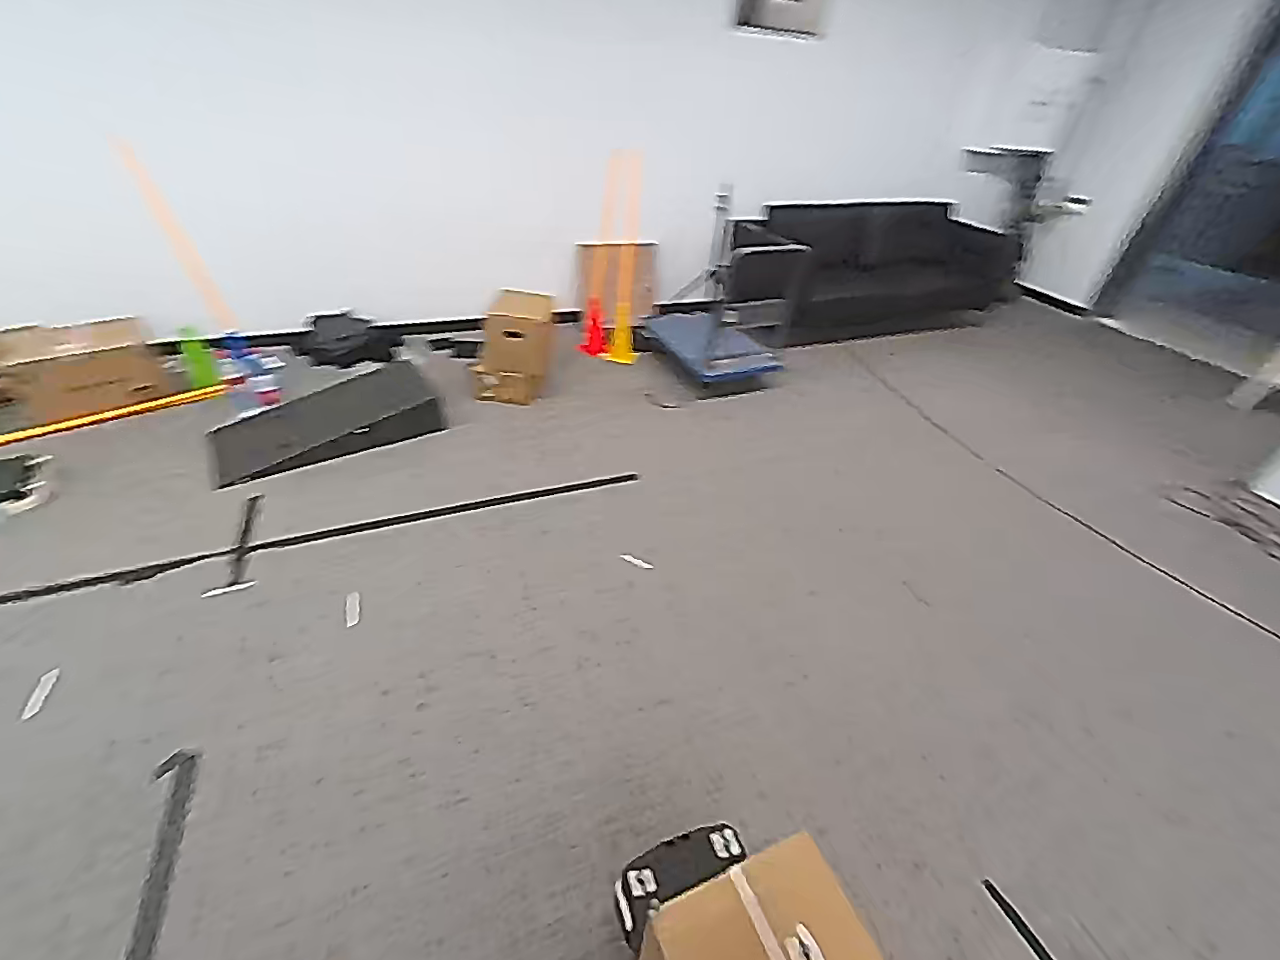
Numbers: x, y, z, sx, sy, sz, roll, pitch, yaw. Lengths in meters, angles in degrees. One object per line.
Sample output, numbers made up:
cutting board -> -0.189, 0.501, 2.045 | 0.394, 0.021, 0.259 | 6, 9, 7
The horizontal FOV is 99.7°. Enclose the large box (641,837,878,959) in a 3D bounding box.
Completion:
large box -> 0.220, 0.884, 0.841 | 0.320, 0.320, 0.408 | -10, 38, -21
